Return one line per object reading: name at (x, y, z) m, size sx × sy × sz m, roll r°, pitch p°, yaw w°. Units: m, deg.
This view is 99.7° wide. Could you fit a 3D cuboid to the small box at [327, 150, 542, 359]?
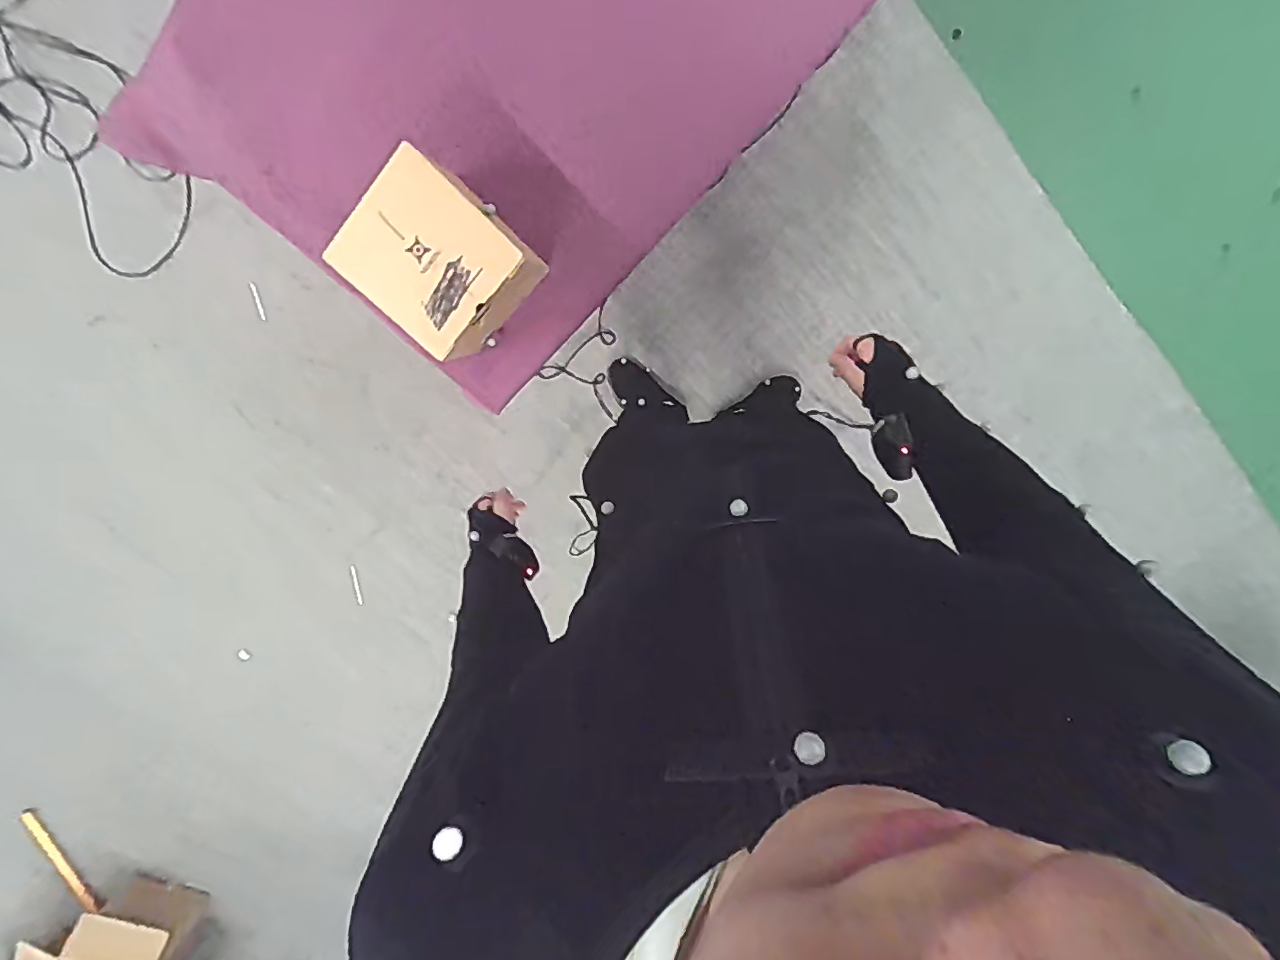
small box at (-0.254, -0.286, 0.716) m, size 0.179 × 0.176 × 0.168 m, roll 43°, pitch 104°, yaw -10°
